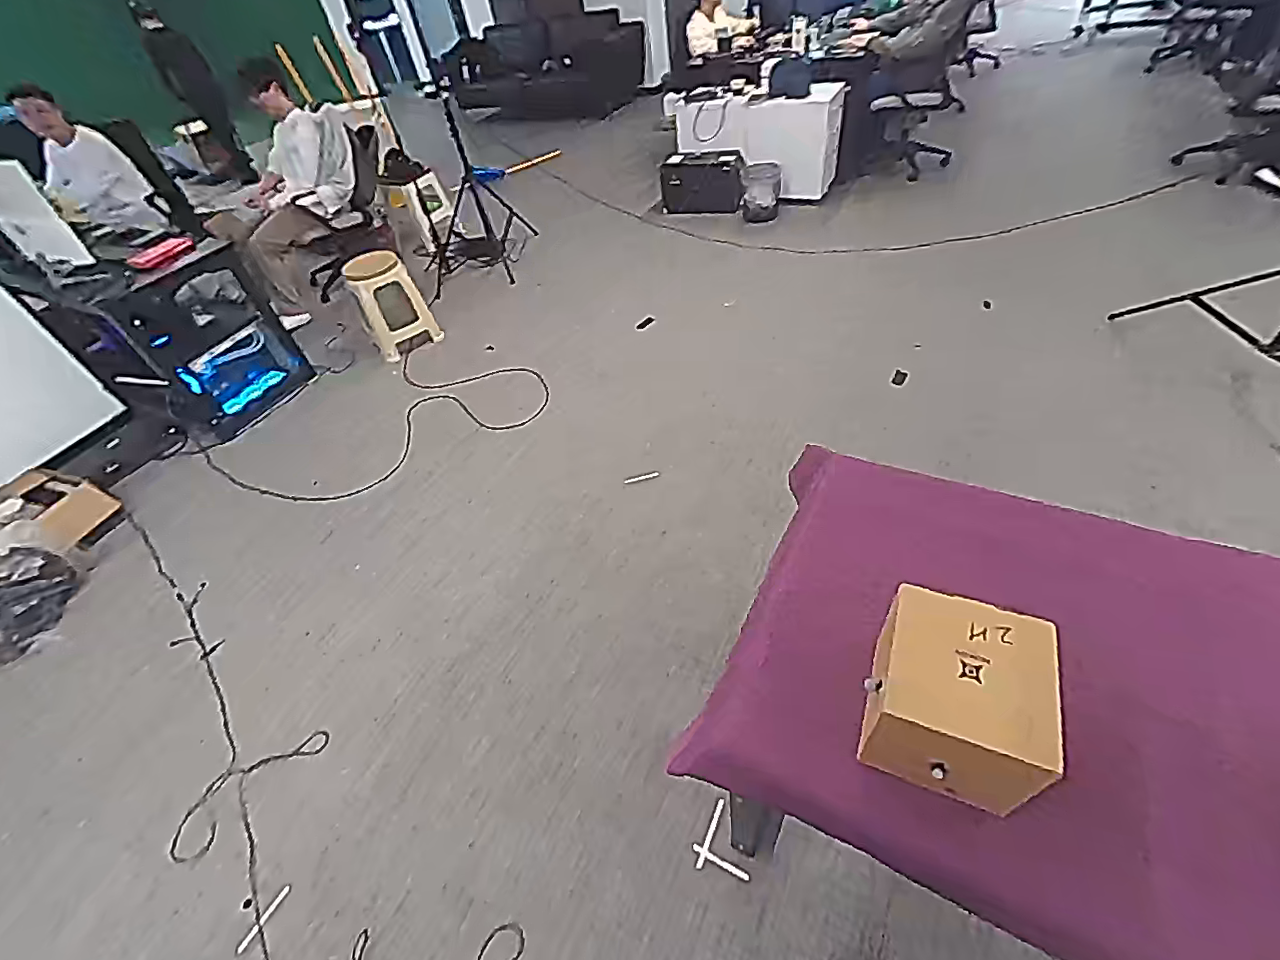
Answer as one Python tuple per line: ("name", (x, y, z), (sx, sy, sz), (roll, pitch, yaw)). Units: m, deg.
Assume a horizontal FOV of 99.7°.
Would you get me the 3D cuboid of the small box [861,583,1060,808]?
("small box", (0.377, 0.262, 0.656), (0.168, 0.176, 0.179), (14, 50, 21))
